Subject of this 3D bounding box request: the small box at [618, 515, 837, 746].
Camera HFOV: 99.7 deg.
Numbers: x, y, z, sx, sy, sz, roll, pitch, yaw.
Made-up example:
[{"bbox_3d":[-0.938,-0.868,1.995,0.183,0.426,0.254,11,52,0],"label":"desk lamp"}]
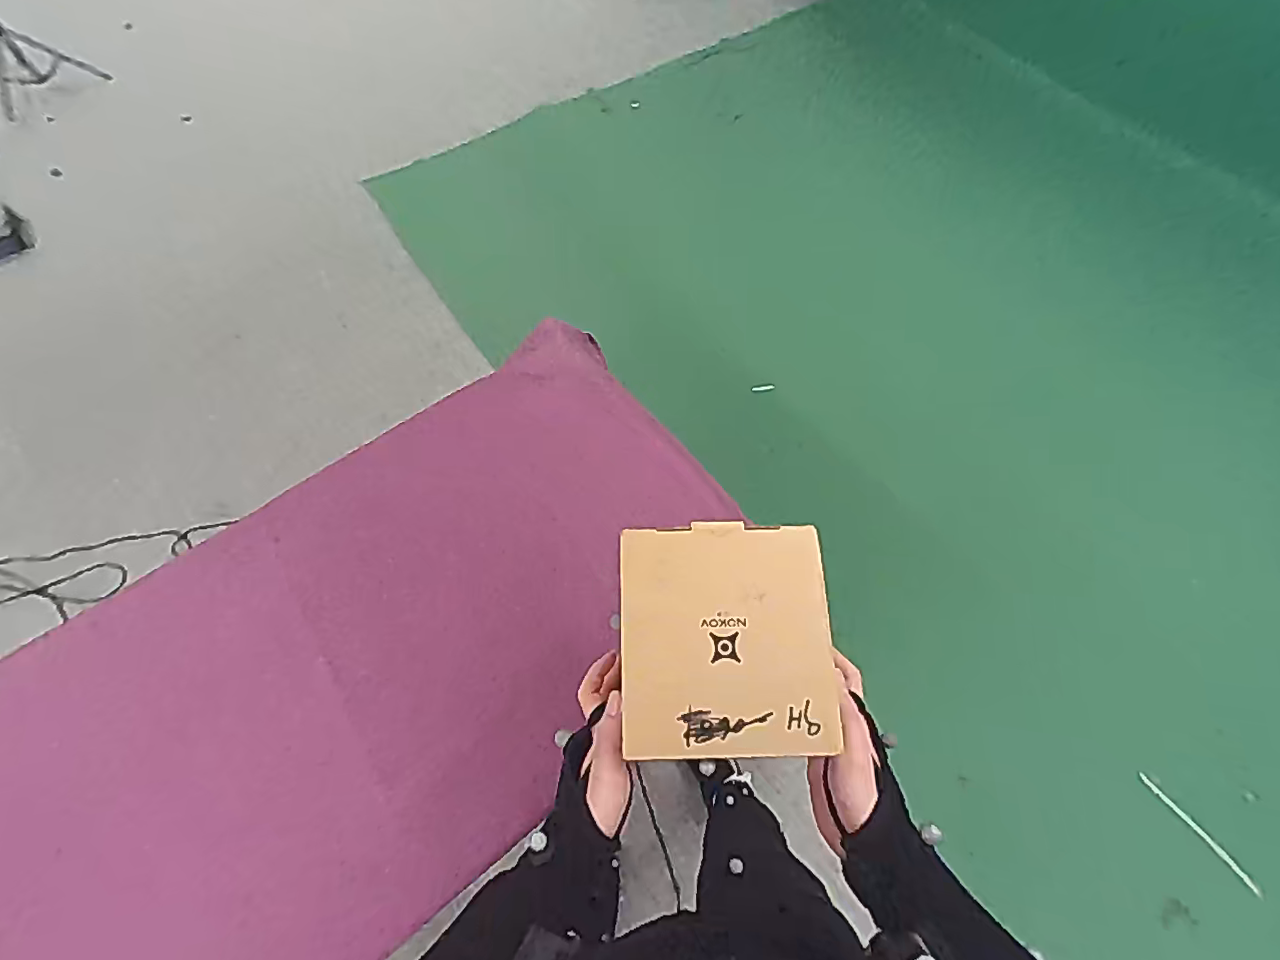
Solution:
[{"bbox_3d":[0.065,0.140,0.502,0.168,0.176,0.179,-2,72,1],"label":"small box"}]
